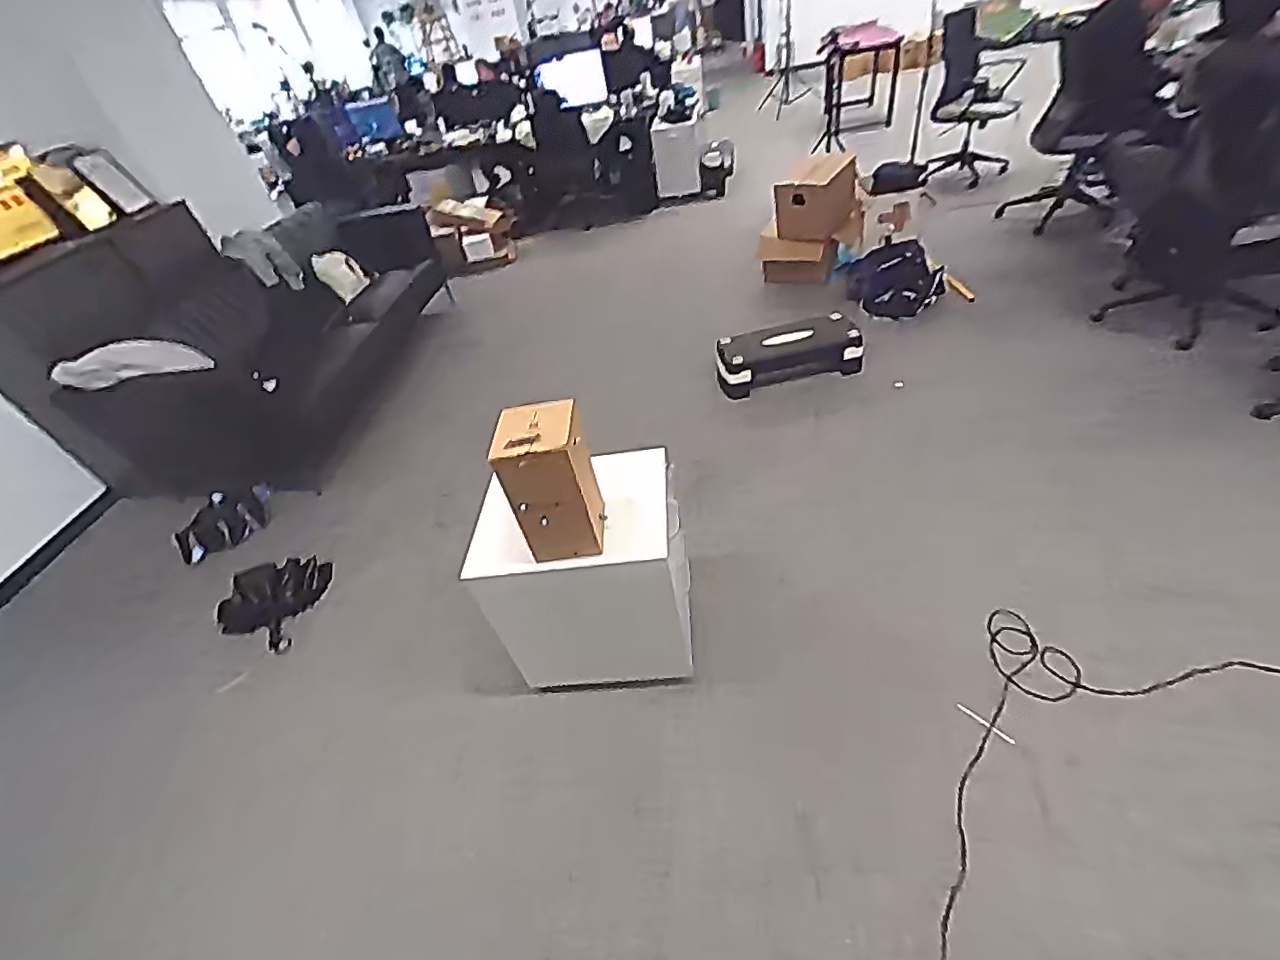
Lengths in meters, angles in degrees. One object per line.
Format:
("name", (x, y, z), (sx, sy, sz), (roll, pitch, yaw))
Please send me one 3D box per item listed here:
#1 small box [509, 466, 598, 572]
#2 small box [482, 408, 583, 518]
("small box", (-0.199, 0.093, 1.293), (0.168, 0.176, 0.179), (-10, 39, 4))
("small box", (-0.226, -0.031, 1.187), (0.168, 0.176, 0.179), (-9, 39, 4))
